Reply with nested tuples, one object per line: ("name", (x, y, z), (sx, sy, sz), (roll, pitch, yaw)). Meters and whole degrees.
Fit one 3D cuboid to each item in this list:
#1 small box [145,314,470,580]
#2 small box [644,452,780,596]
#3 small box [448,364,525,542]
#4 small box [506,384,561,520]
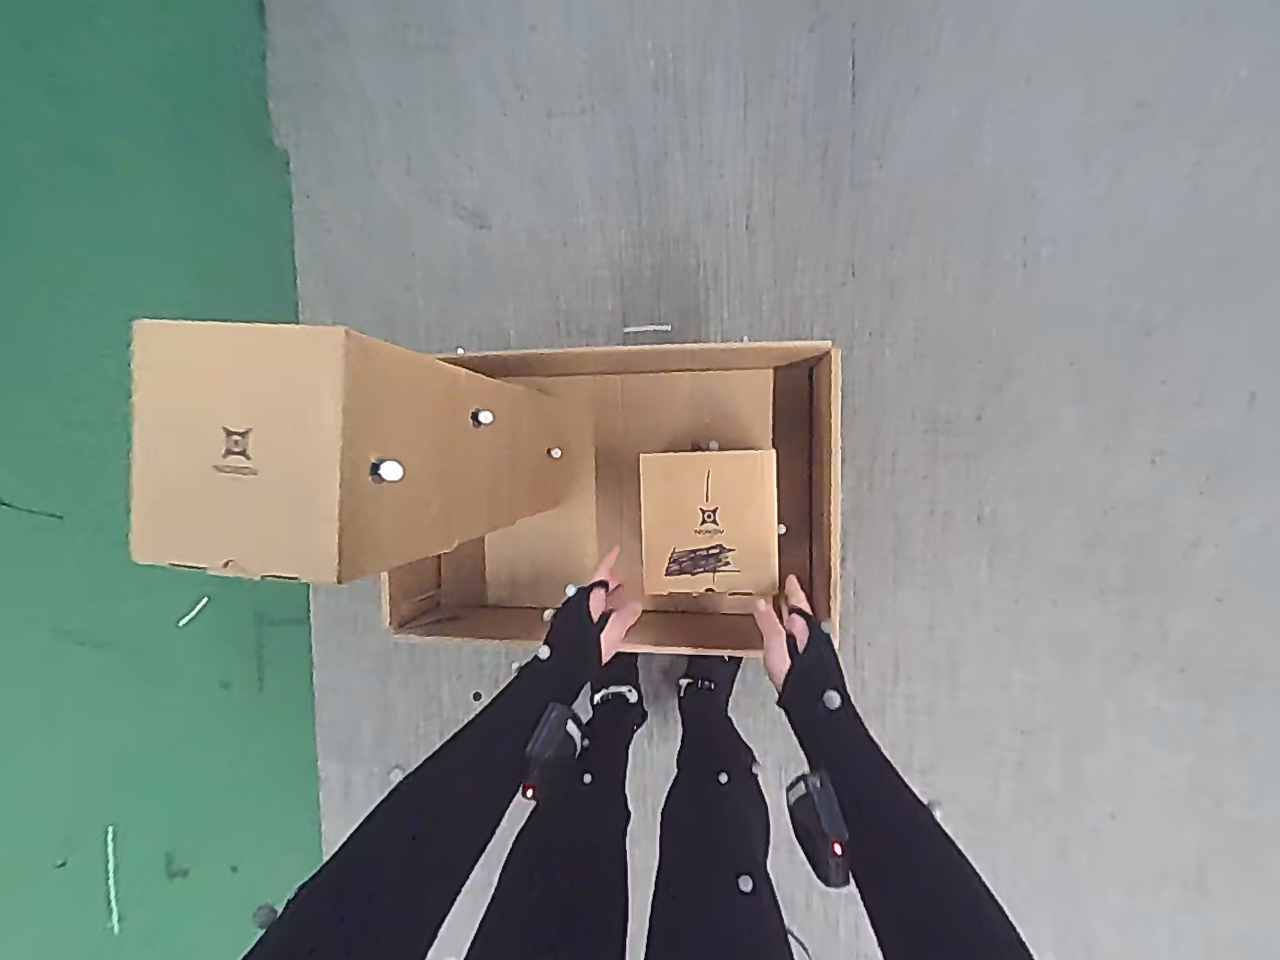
("small box", (-0.258, -0.027, 0.455), (0.168, 0.176, 0.179), (5, 94, 8))
("small box", (0.098, 0.051, 0.734), (0.168, 0.176, 0.179), (-1, 91, 8))
("small box", (-0.239, -0.033, 0.617), (0.168, 0.176, 0.179), (4, 93, 9))
("small box", (-0.216, -0.039, 0.779), (0.168, 0.176, 0.179), (2, 92, 8))
